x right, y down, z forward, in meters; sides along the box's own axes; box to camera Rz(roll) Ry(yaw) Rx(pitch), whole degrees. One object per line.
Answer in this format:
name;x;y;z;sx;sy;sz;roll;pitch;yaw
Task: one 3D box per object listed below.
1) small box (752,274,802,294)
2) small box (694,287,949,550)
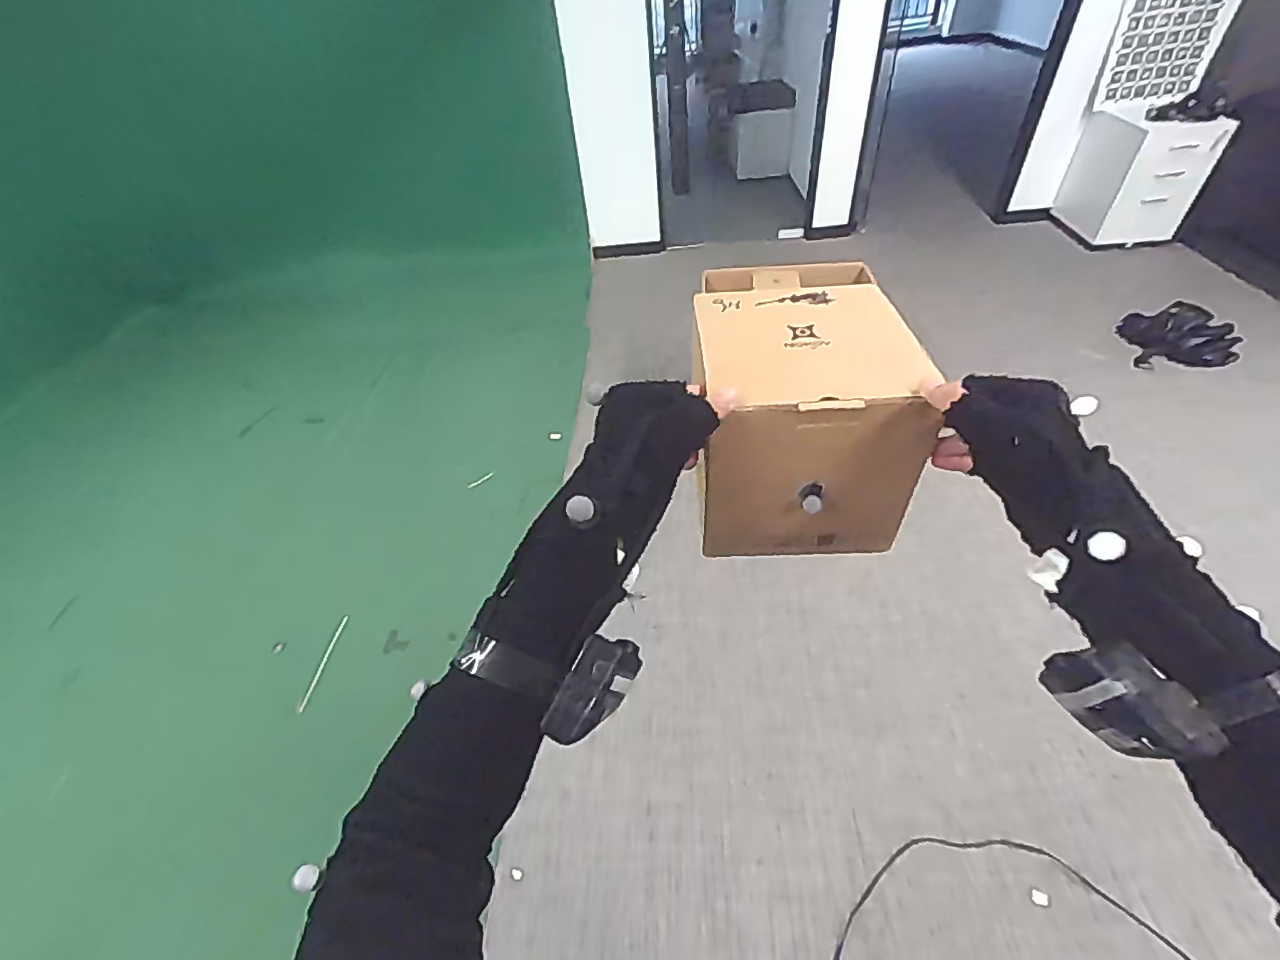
small box;0.496;-0.640;1.987;0.168;0.176;0.179;3;43;7
small box;0.135;-0.050;0.481;0.168;0.176;0.179;-2;44;2
